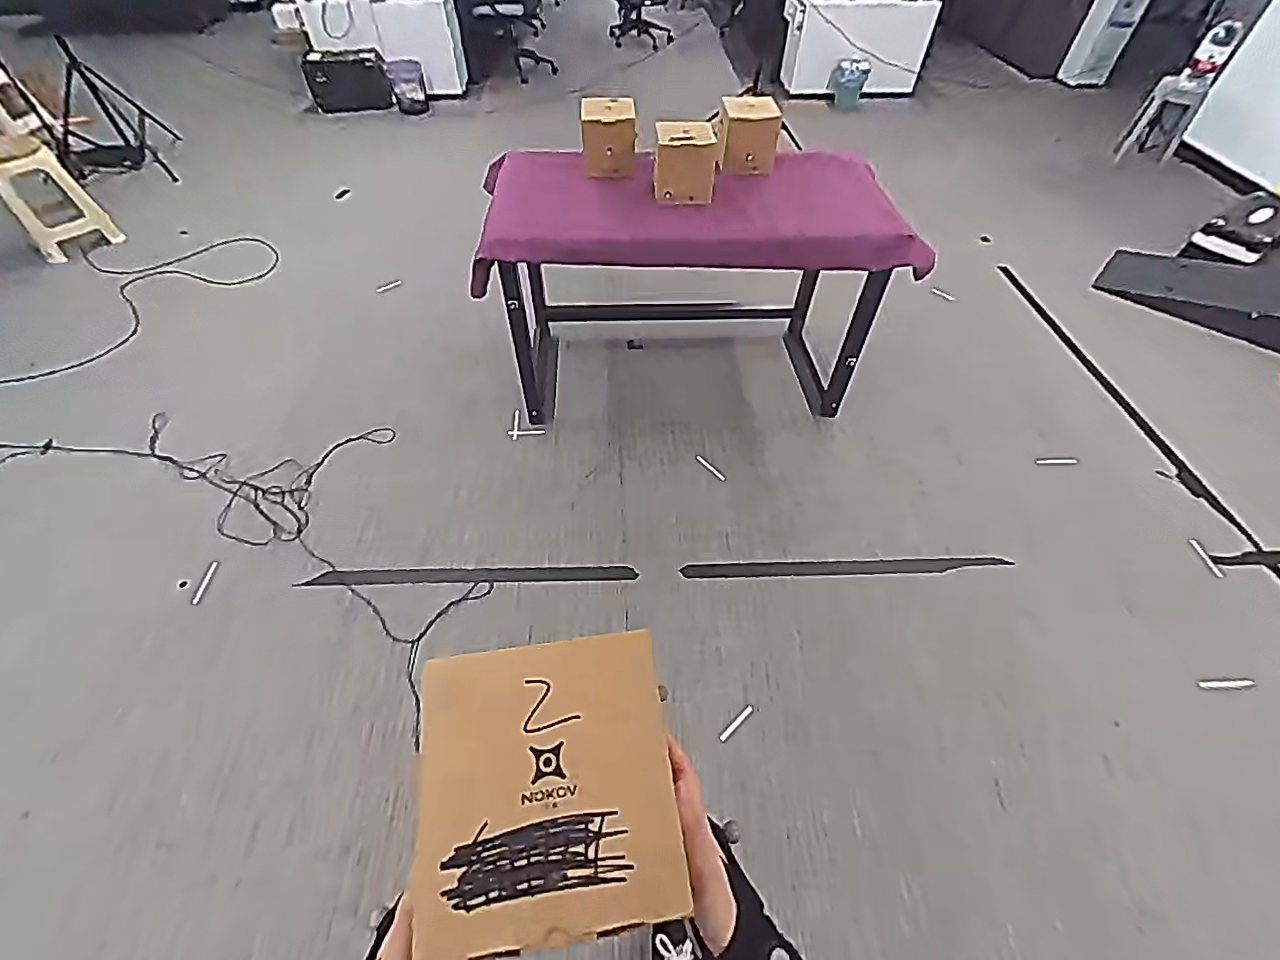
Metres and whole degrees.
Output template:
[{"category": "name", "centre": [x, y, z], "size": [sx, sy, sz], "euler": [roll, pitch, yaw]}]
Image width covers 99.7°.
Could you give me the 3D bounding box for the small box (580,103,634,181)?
[{"category": "small box", "centre": [-0.104, -1.083, 1.737], "size": [0.168, 0.176, 0.179], "euler": [-2, 53, -3]}]

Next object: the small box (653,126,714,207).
[{"category": "small box", "centre": [0.127, -0.940, 1.626], "size": [0.168, 0.176, 0.179], "euler": [-2, 50, -2]}]

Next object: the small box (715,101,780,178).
[{"category": "small box", "centre": [0.343, -1.110, 1.762], "size": [0.168, 0.176, 0.179], "euler": [-3, 52, -1]}]
